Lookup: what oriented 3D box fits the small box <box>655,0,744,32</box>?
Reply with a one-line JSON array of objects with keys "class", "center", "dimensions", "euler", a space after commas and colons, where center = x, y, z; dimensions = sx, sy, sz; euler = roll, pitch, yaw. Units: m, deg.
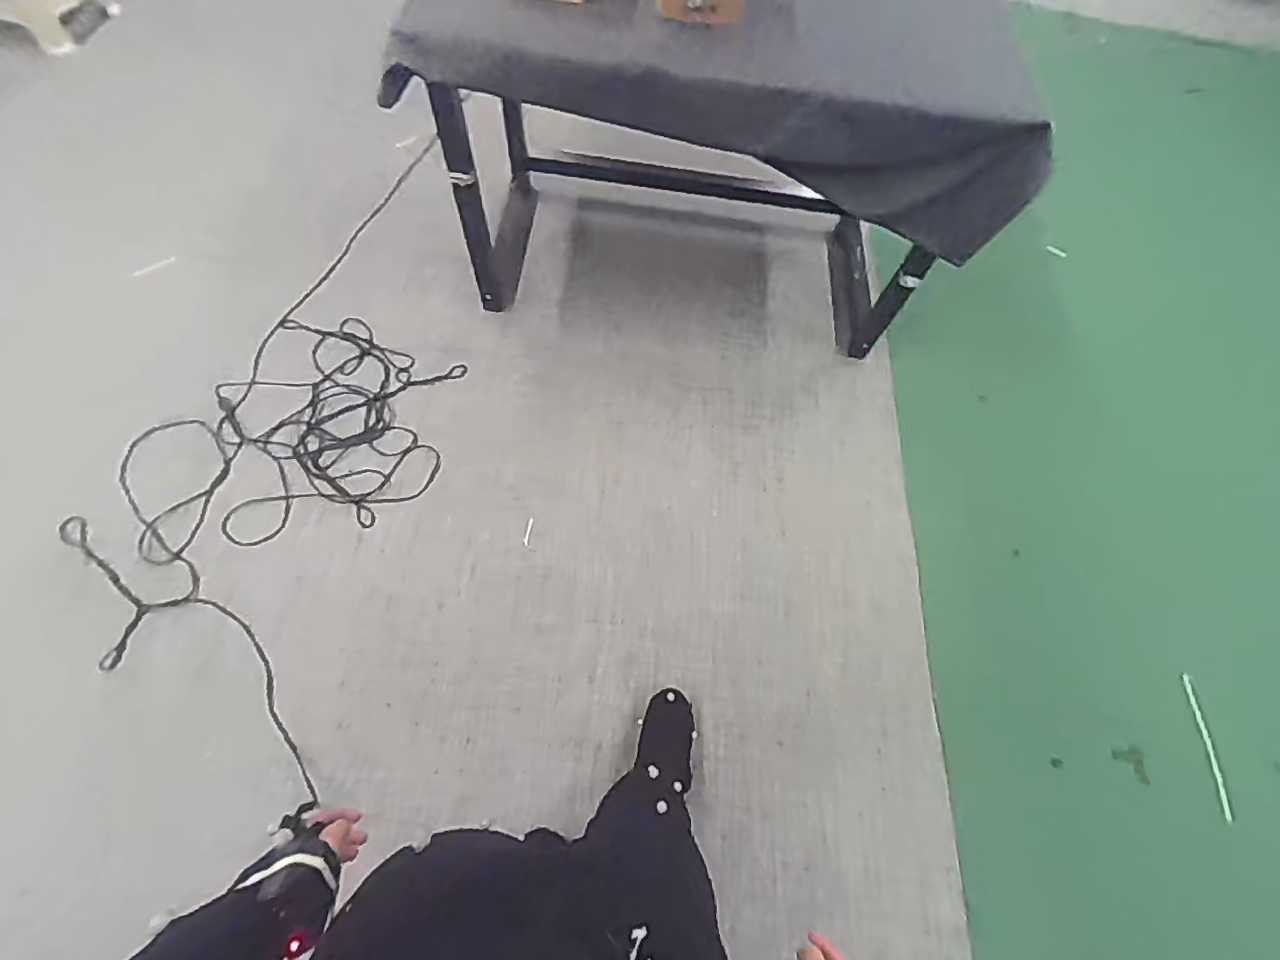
[{"class": "small box", "center": [0.116, -0.990, 1.015], "dimensions": [0.168, 0.176, 0.179], "euler": [-1, 65, -5]}]
